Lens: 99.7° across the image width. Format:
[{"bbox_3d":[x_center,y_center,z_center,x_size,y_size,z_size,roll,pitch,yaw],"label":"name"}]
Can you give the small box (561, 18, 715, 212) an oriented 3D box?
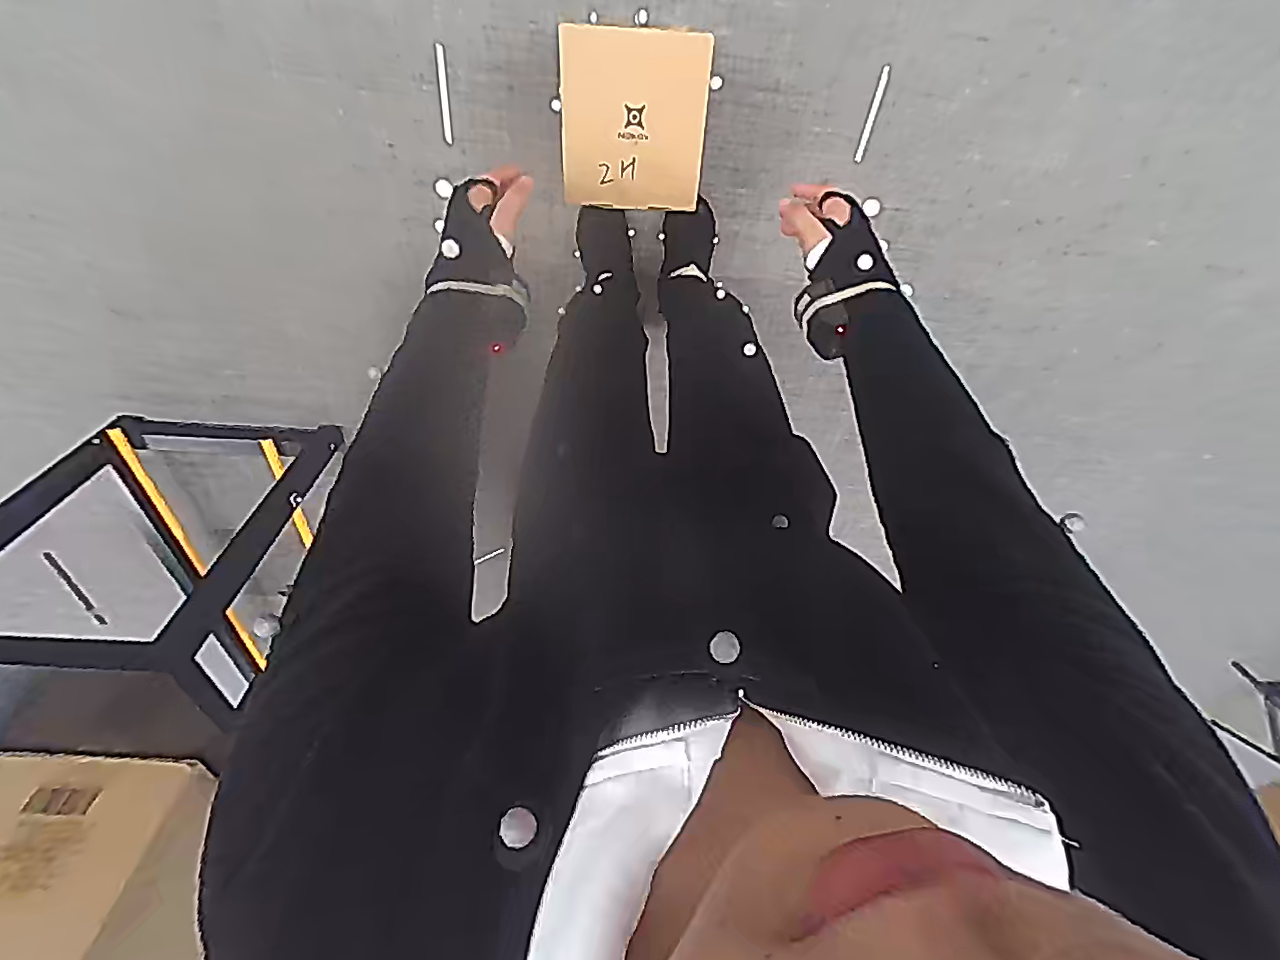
[{"bbox_3d":[-0.008,-0.454,0.674,0.168,0.176,0.179,3,130,-2],"label":"small box"}]
